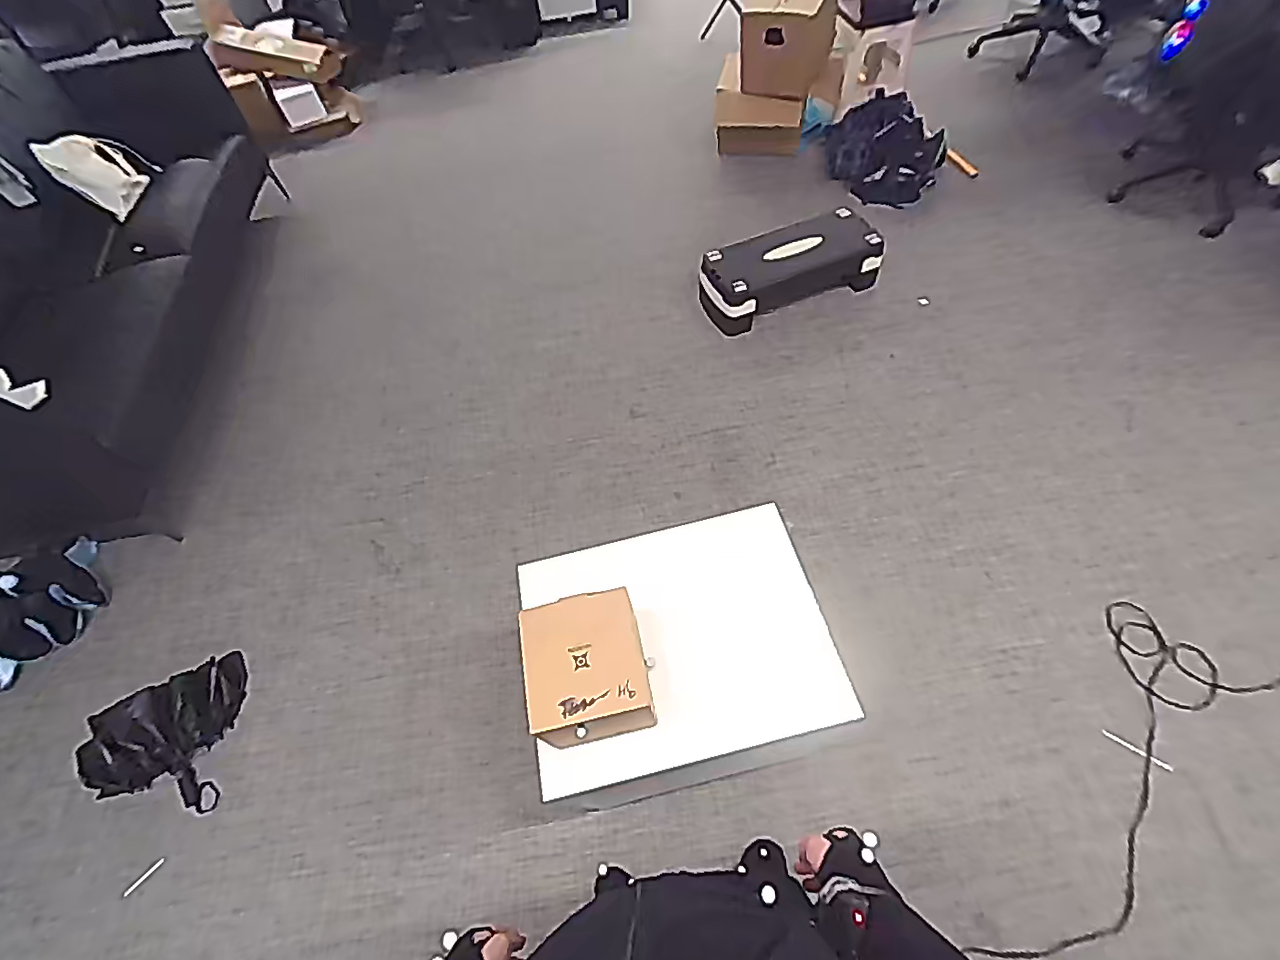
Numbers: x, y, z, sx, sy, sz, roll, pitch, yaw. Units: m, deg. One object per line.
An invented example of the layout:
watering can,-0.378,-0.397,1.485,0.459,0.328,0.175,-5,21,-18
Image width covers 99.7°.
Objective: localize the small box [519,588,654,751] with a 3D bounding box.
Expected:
small box,-0.078,0.293,0.828,0.168,0.176,0.179,-13,56,-3
